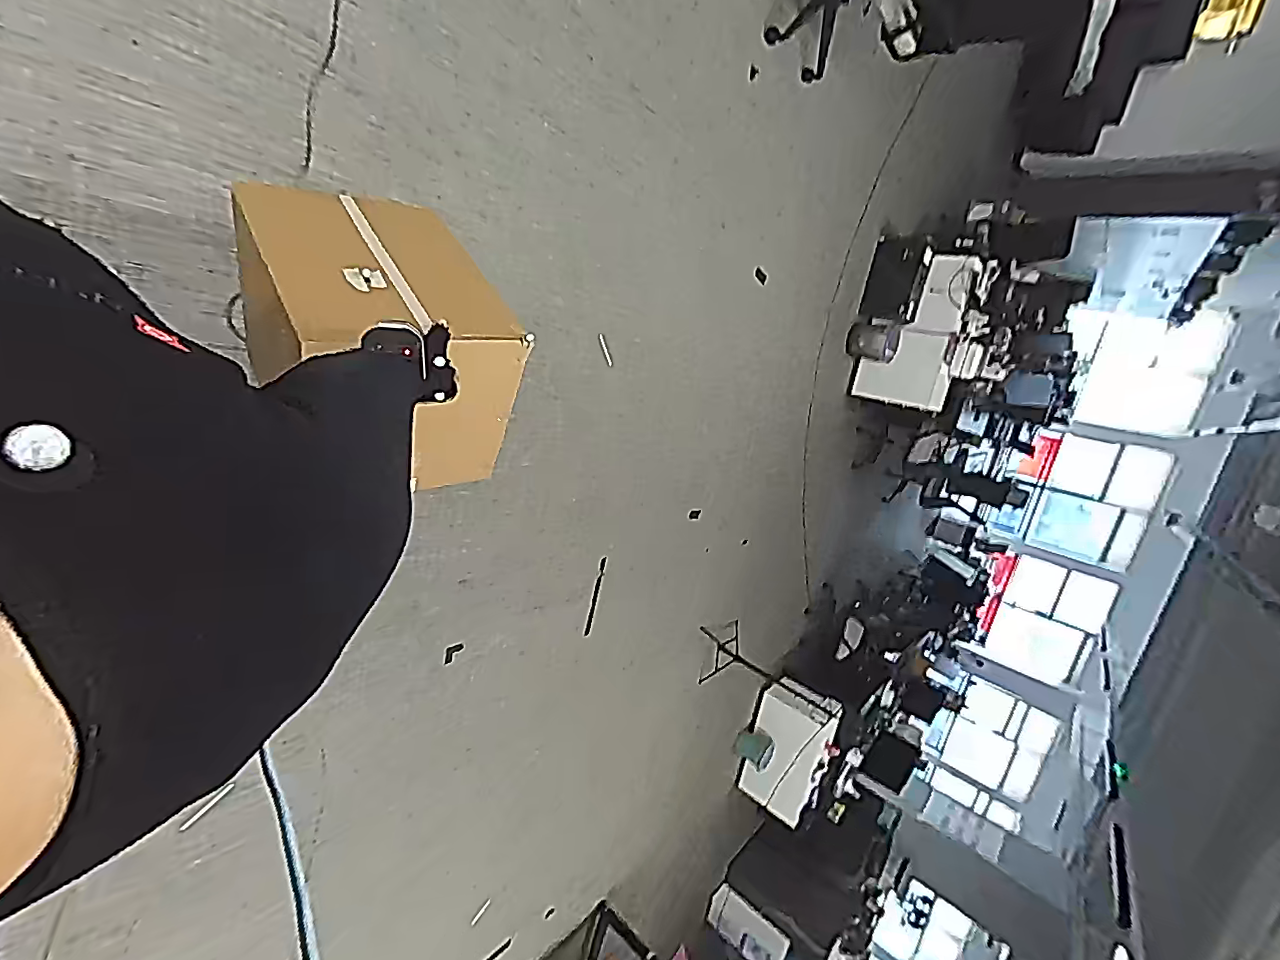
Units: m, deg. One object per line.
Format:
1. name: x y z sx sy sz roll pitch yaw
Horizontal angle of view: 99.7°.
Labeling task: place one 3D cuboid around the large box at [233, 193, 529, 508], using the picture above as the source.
1. large box: -0.454 -0.220 0.928 0.320 0.408 0.320 -15 147 -40
